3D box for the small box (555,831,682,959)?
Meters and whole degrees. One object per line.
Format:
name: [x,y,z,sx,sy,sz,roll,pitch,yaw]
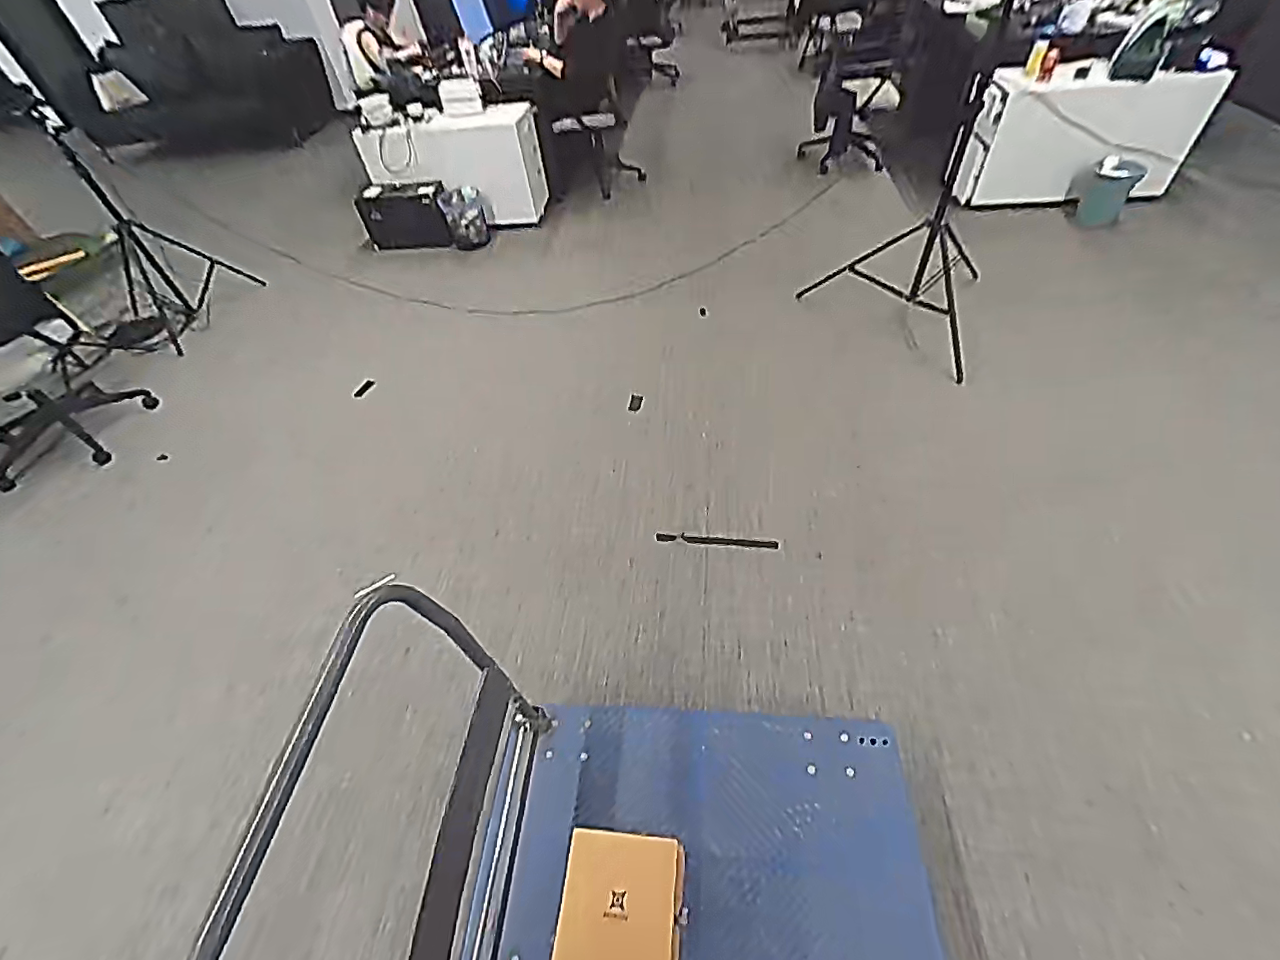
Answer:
small box: [-0.023,0.664,0.829,0.168,0.176,0.179,2,49,8]
